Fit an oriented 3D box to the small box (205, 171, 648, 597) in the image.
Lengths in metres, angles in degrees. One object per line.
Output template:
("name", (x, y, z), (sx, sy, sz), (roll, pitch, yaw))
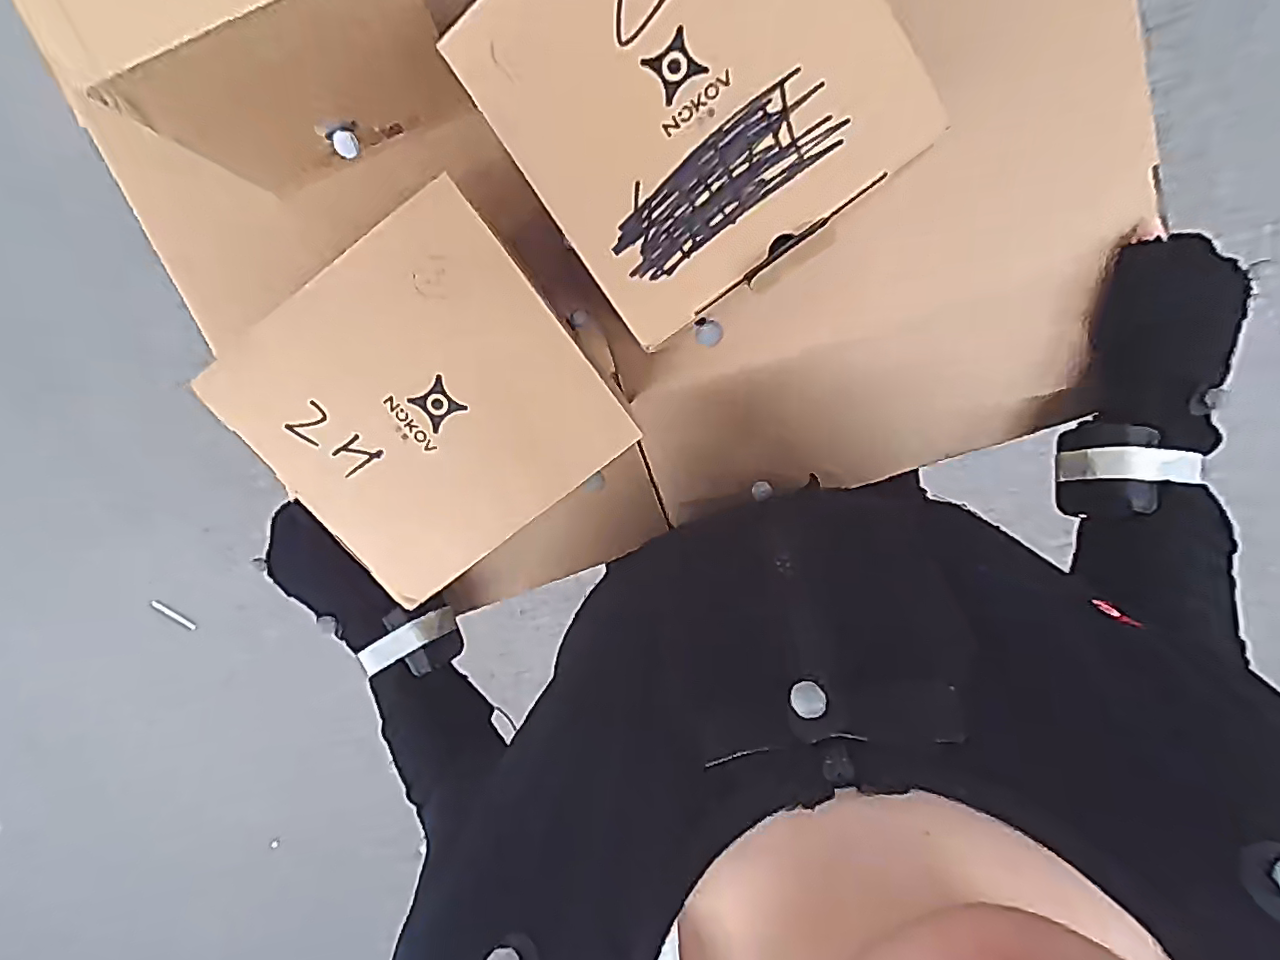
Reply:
("small box", (-0.117, -0.062, 0.368), (0.179, 0.176, 0.168), (-36, 104, 5))
